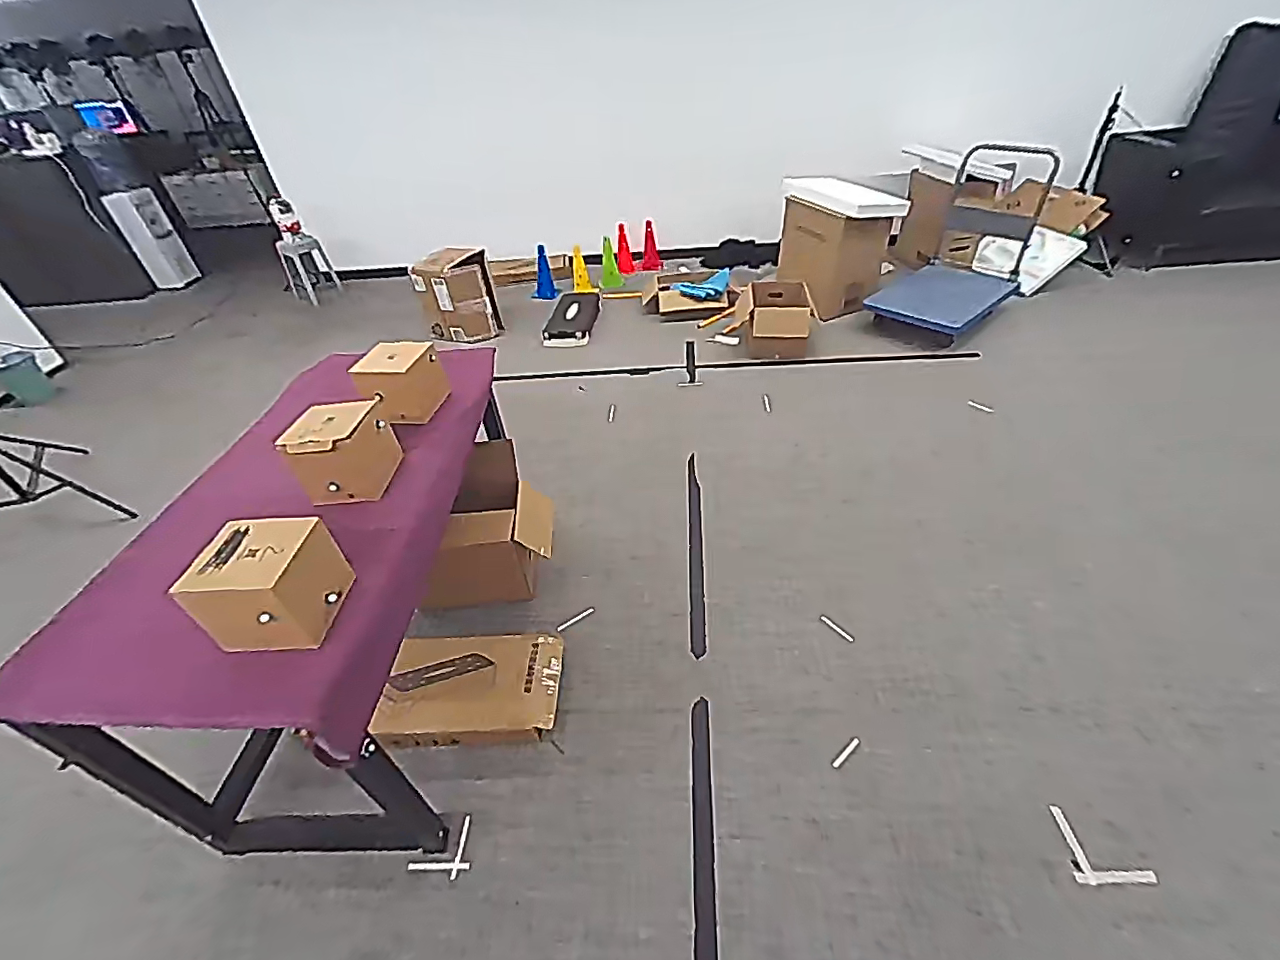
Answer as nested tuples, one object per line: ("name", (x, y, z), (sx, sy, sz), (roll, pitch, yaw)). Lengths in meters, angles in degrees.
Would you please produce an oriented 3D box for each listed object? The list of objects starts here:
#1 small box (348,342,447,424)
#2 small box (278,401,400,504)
("small box", (-0.663, -0.267, 1.508), (0.168, 0.176, 0.179), (1, 40, 8))
("small box", (-0.688, -0.064, 1.265), (0.168, 0.176, 0.179), (-5, 40, 4))
